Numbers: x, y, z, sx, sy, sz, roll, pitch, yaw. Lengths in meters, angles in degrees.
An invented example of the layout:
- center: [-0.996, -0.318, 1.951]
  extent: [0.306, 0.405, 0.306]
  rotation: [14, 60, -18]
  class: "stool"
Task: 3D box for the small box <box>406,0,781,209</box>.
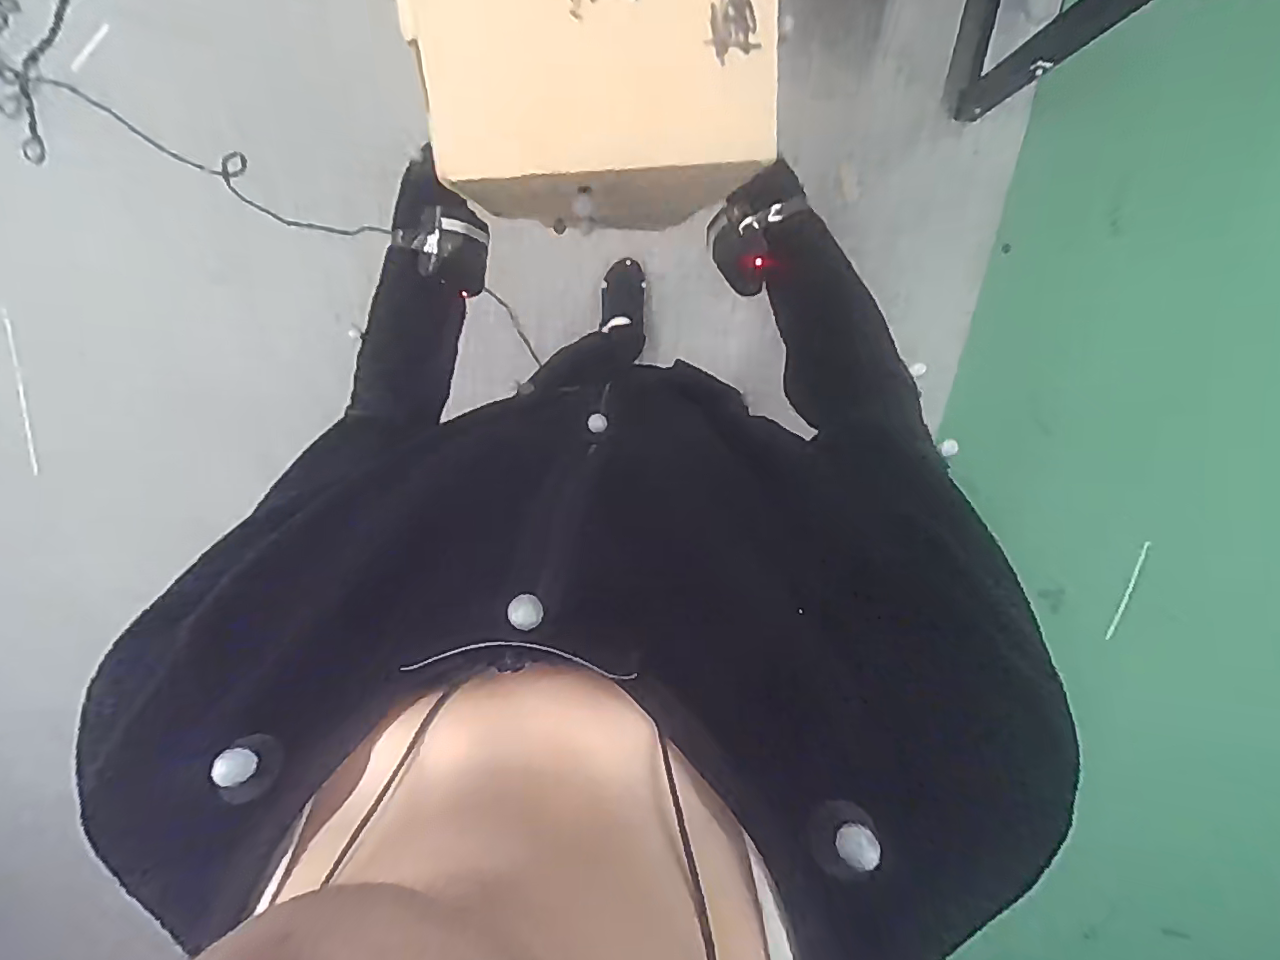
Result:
- center: [-0.025, -0.264, 0.319]
  extent: [0.179, 0.176, 0.168]
  rotation: [-5, 110, -2]
  class: "small box"
